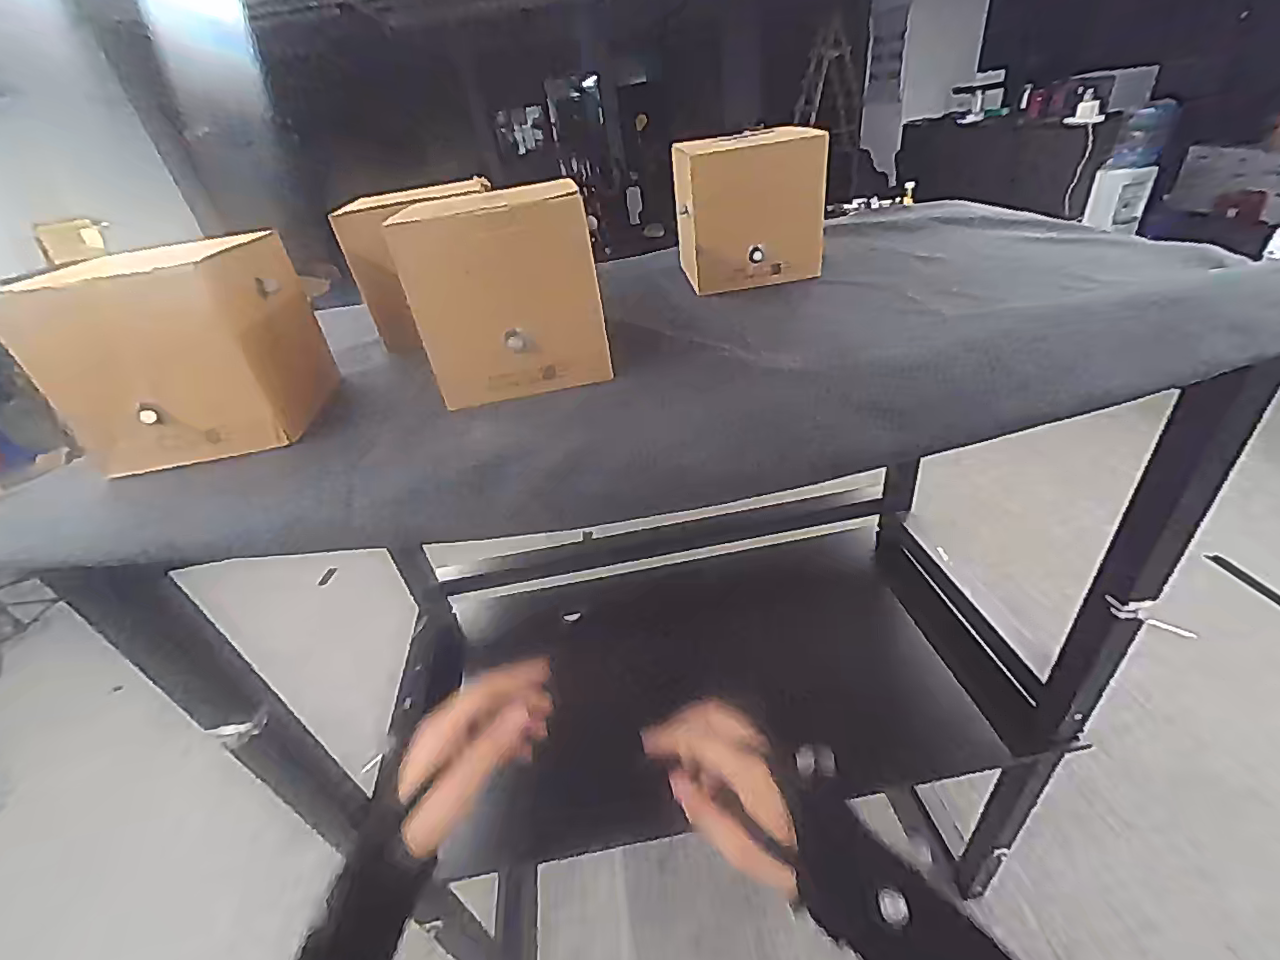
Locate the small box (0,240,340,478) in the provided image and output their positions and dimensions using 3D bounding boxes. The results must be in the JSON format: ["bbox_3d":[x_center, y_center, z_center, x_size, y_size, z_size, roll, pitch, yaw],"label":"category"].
[{"bbox_3d":[-0.425,-0.124,0.532,0.168,0.176,0.179,-12,34,-5],"label":"small box"}]

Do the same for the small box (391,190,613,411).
[{"bbox_3d":[-0.127,-0.189,0.559,0.168,0.176,0.179,-11,34,-4],"label":"small box"}]

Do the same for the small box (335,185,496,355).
[{"bbox_3d":[-0.268,-0.286,0.731,0.179,0.176,0.168,-12,34,-5],"label":"small box"}]
